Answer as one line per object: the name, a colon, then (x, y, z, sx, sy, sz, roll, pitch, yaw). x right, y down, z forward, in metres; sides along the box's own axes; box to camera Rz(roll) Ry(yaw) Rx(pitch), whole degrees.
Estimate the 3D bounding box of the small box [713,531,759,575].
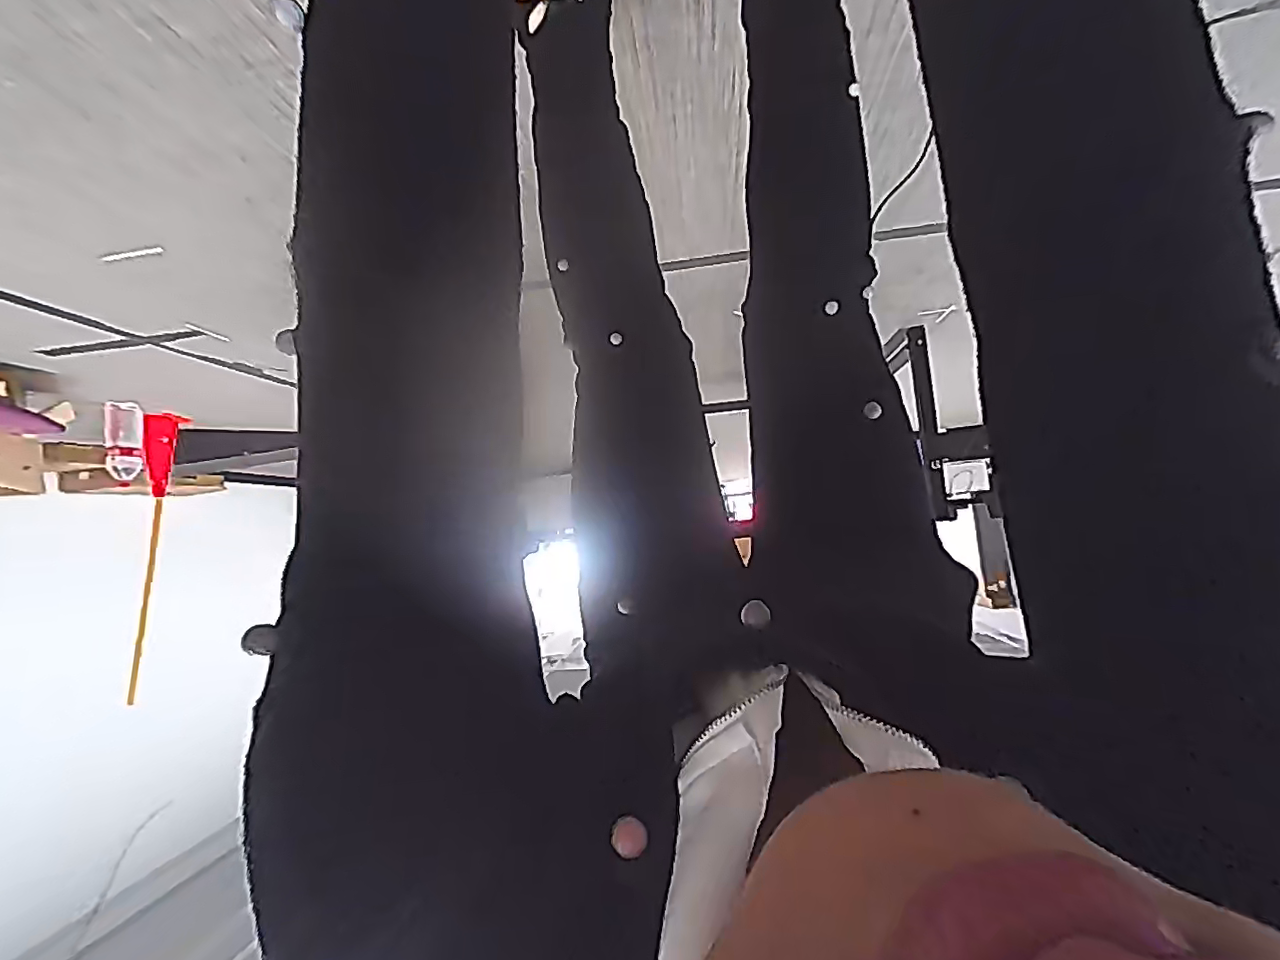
small box: (0.421, 0.314, 2.359, 0.179, 0.176, 0.168, -7, 175, 12)
